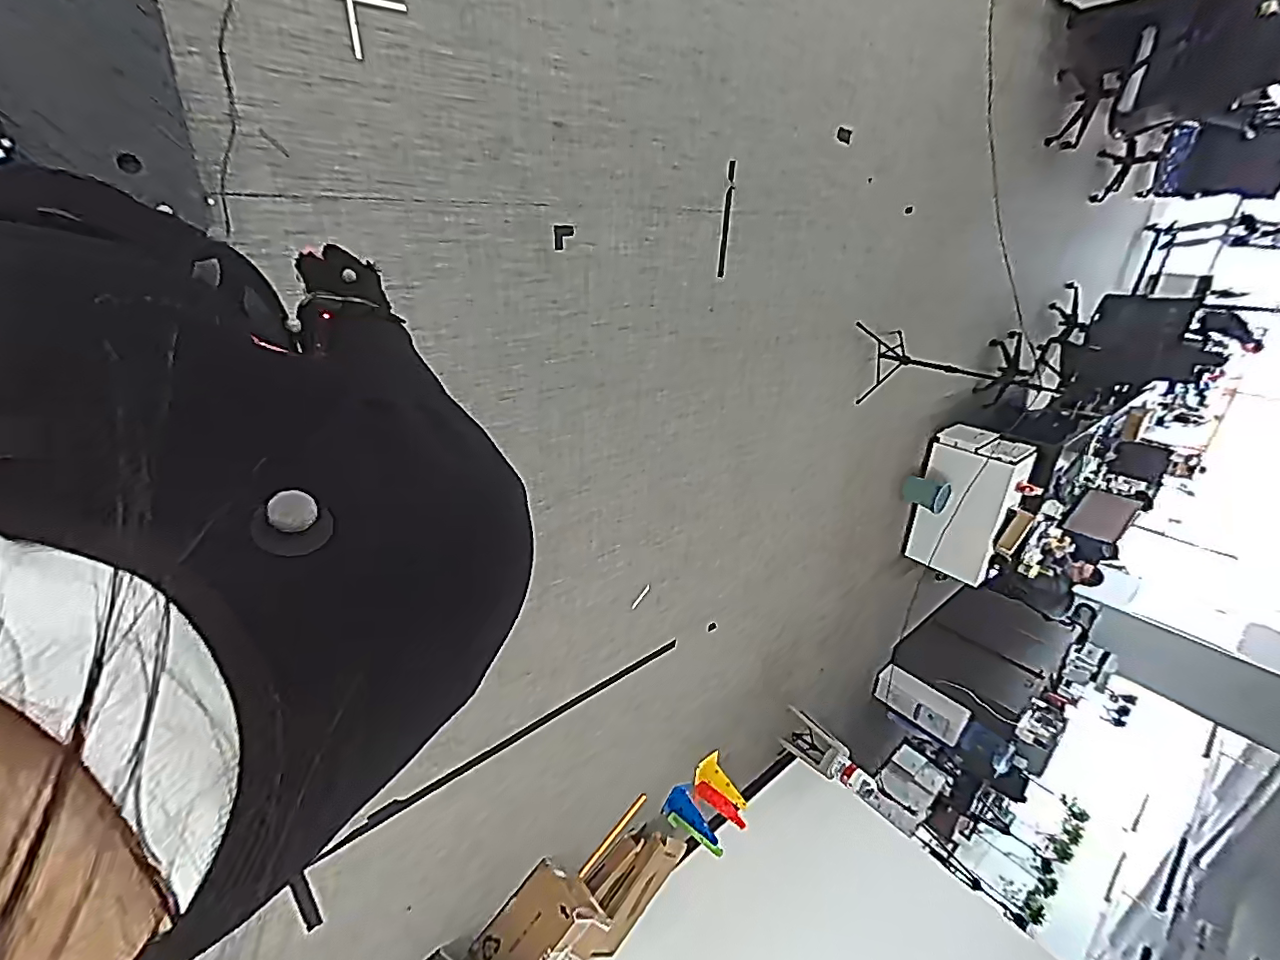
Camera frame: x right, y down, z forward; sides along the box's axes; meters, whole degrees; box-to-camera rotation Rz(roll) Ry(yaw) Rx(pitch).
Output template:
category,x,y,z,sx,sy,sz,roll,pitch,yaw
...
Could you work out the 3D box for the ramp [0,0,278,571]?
category,x,y,z,sx,sy,sz,roll,pitch,yaw
ramp,-1.056,-0.354,0.975,0.509,0.206,0.991,-17,120,-35
